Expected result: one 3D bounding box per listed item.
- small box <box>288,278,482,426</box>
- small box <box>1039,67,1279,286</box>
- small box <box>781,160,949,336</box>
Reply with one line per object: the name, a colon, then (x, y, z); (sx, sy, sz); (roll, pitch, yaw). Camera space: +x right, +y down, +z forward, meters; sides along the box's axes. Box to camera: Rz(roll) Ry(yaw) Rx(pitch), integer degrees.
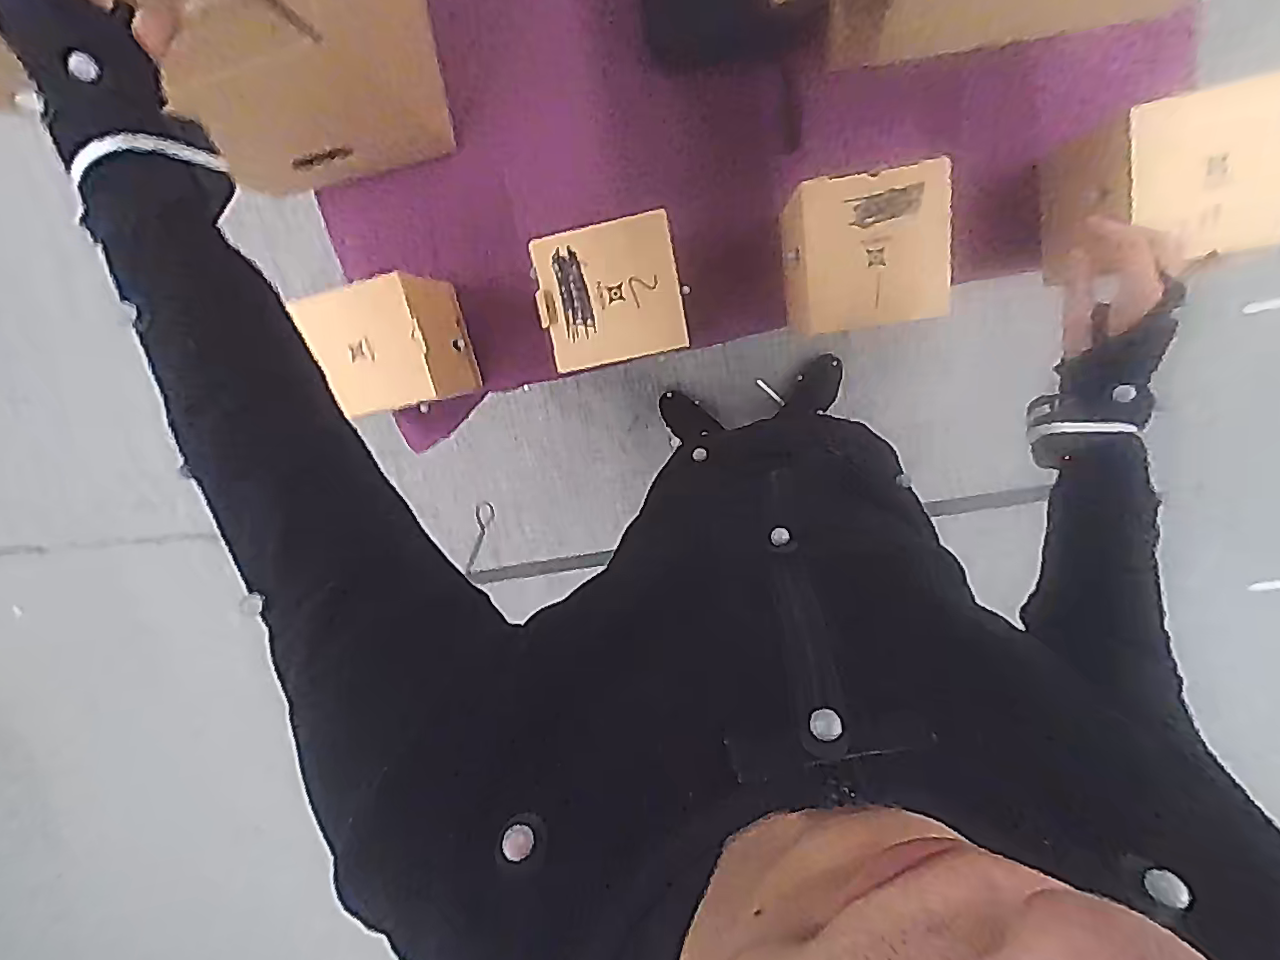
small box: (-0.365, -0.185, 0.806); (0.179, 0.176, 0.168); (-13, 102, 7)
small box: (0.625, -0.352, 0.663); (0.168, 0.176, 0.179); (-10, 103, 9)
small box: (0.285, -0.290, 0.715); (0.168, 0.176, 0.179); (-6, 104, 8)
